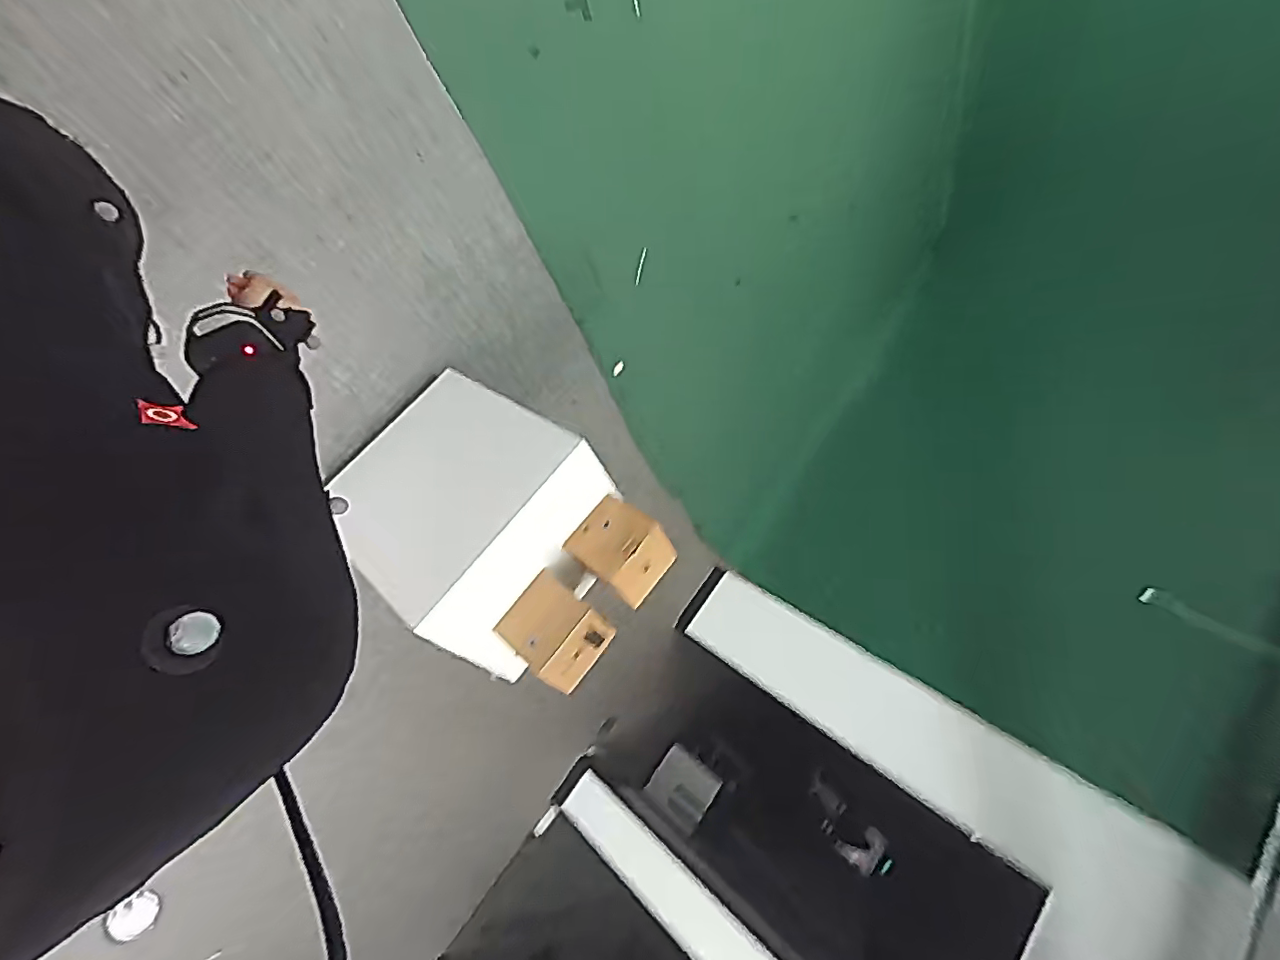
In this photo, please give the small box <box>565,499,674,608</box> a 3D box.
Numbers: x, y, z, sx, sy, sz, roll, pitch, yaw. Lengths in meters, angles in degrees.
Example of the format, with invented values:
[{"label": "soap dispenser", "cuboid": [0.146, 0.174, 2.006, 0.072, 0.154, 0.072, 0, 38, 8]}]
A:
[{"label": "small box", "cuboid": [-0.049, 0.173, 1.308, 0.168, 0.176, 0.179, -50, 144, -16]}]
